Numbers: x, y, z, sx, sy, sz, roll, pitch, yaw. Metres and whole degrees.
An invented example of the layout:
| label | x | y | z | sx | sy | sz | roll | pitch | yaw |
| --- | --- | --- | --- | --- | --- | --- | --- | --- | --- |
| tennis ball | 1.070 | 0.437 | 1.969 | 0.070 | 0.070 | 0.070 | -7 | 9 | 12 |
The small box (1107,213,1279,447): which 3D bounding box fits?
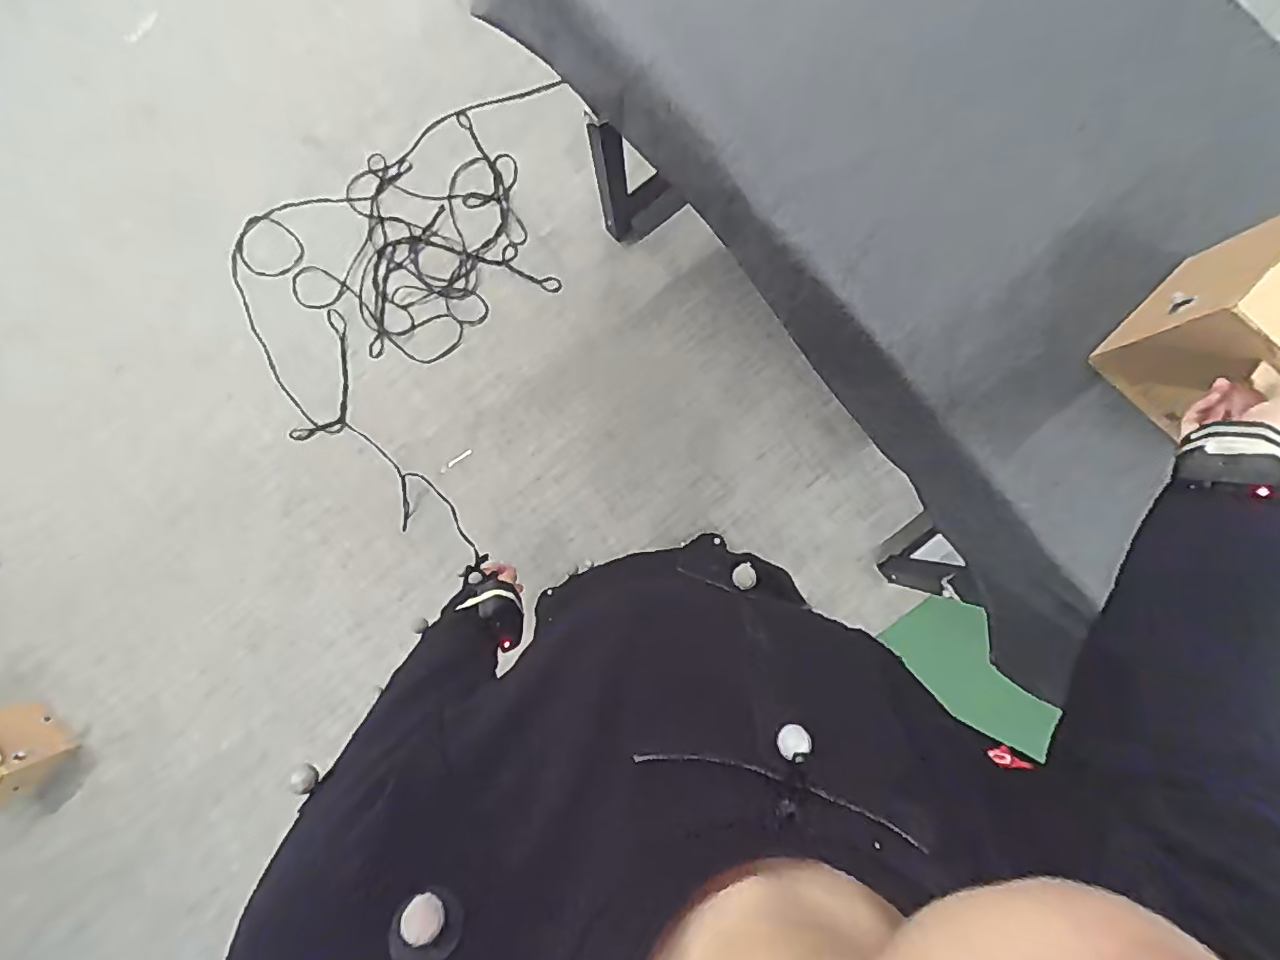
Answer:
| label | x | y | z | sx | sy | sz | roll | pitch | yaw |
| --- | --- | --- | --- | --- | --- | --- | --- | --- | --- |
| small box | 0.642 | -0.152 | 0.551 | 0.168 | 0.176 | 0.179 | 45 | 87 | 3 |
